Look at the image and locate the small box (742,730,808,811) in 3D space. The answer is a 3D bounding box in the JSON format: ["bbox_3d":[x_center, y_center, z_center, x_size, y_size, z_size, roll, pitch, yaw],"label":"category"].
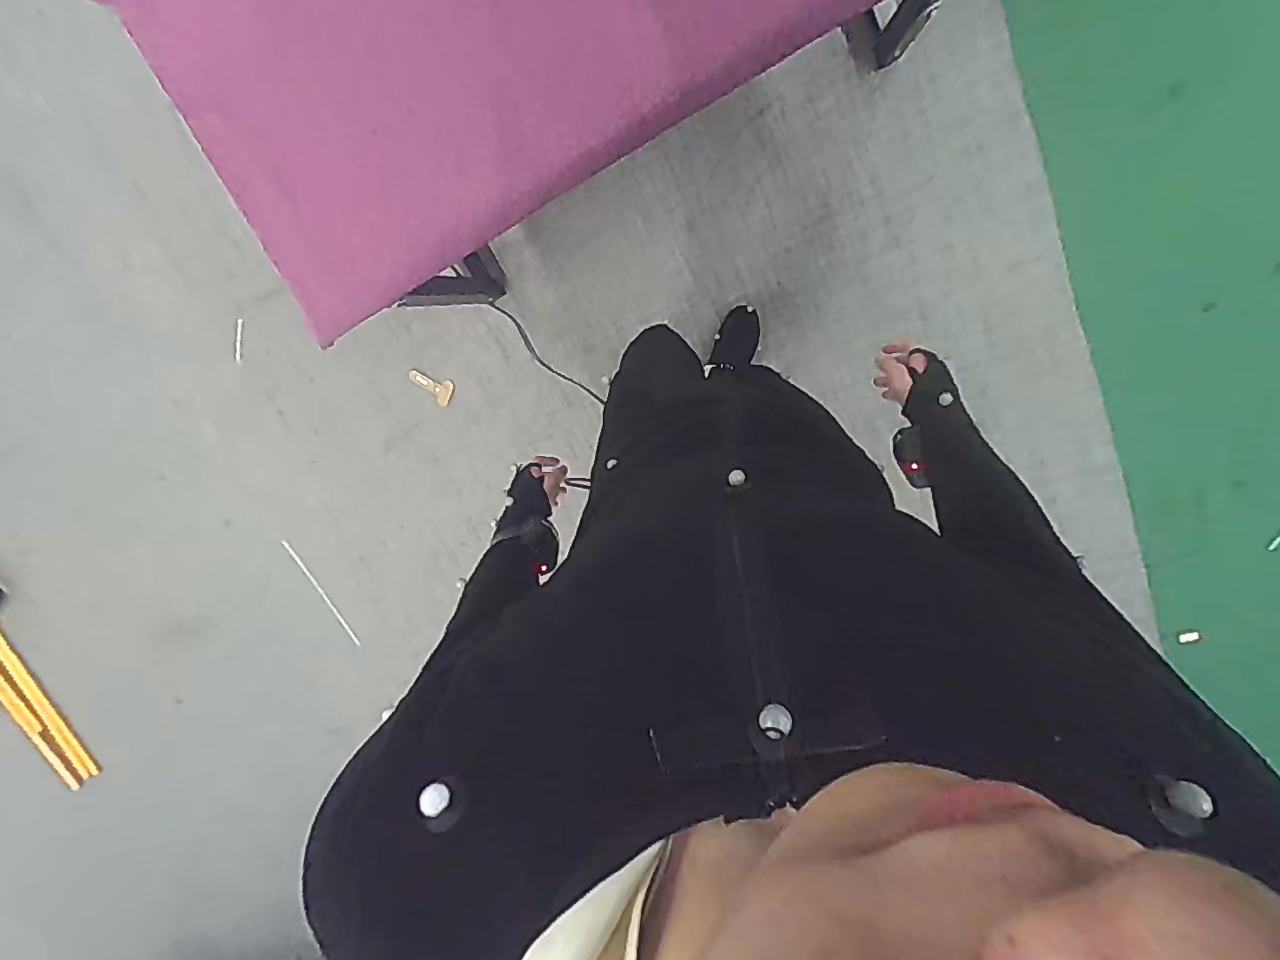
[{"bbox_3d":[0.454,0.986,1.846,0.179,0.176,0.168,-20,105,15],"label":"small box"}]
